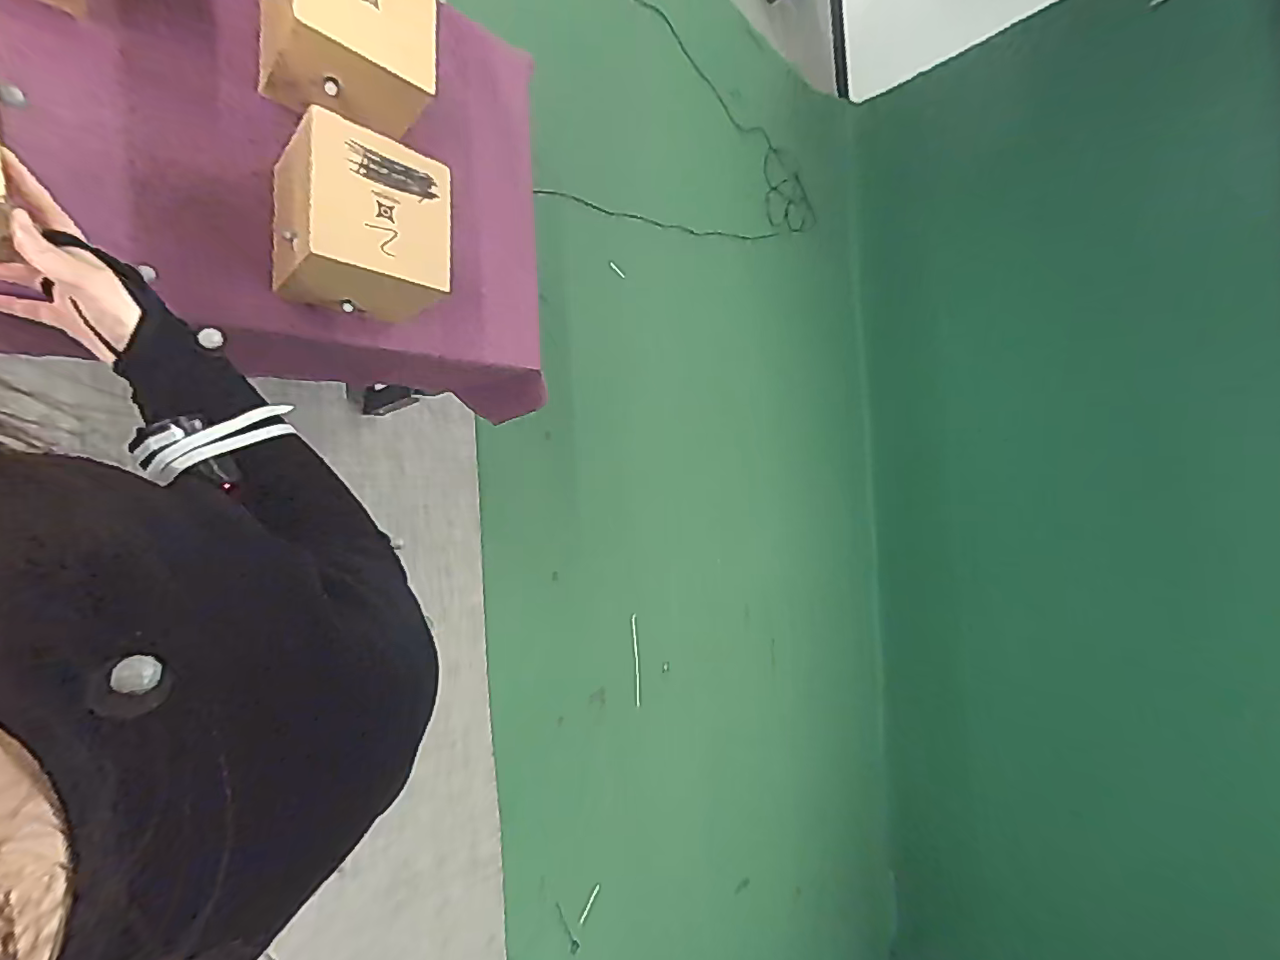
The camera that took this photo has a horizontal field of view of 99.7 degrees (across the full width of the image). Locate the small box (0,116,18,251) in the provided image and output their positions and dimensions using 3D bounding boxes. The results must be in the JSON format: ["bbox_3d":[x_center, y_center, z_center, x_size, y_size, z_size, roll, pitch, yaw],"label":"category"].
[{"bbox_3d":[-0.465,-0.236,0.283,0.168,0.176,0.179,-10,100,-47],"label":"small box"}]

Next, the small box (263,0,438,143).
[{"bbox_3d":[-0.384,-0.595,0.717,0.168,0.176,0.179,2,86,-45],"label":"small box"}]
